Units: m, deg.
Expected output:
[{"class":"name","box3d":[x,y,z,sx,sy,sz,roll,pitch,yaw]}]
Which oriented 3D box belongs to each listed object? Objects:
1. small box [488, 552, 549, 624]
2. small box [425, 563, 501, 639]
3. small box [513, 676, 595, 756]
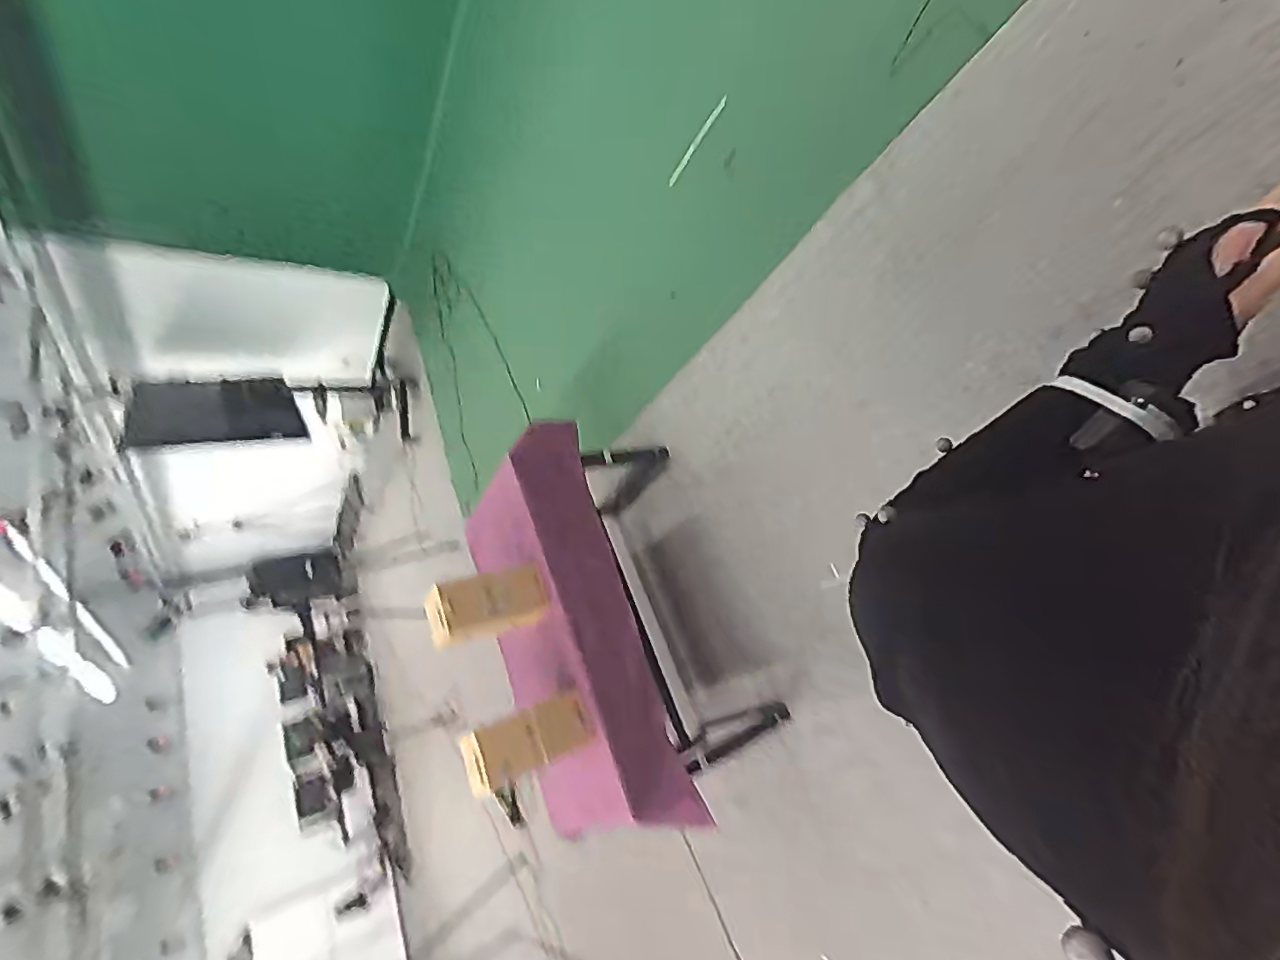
[{"class":"small box","box3d":[-0.421,0.358,1.795,0.179,0.176,0.168,-45,62,47]},{"class":"small box","box3d":[-0.552,0.375,1.696,0.179,0.176,0.168,-46,60,46]},{"class":"small box","box3d":[-0.262,0.720,1.653,0.179,0.176,0.168,-43,63,46]}]
